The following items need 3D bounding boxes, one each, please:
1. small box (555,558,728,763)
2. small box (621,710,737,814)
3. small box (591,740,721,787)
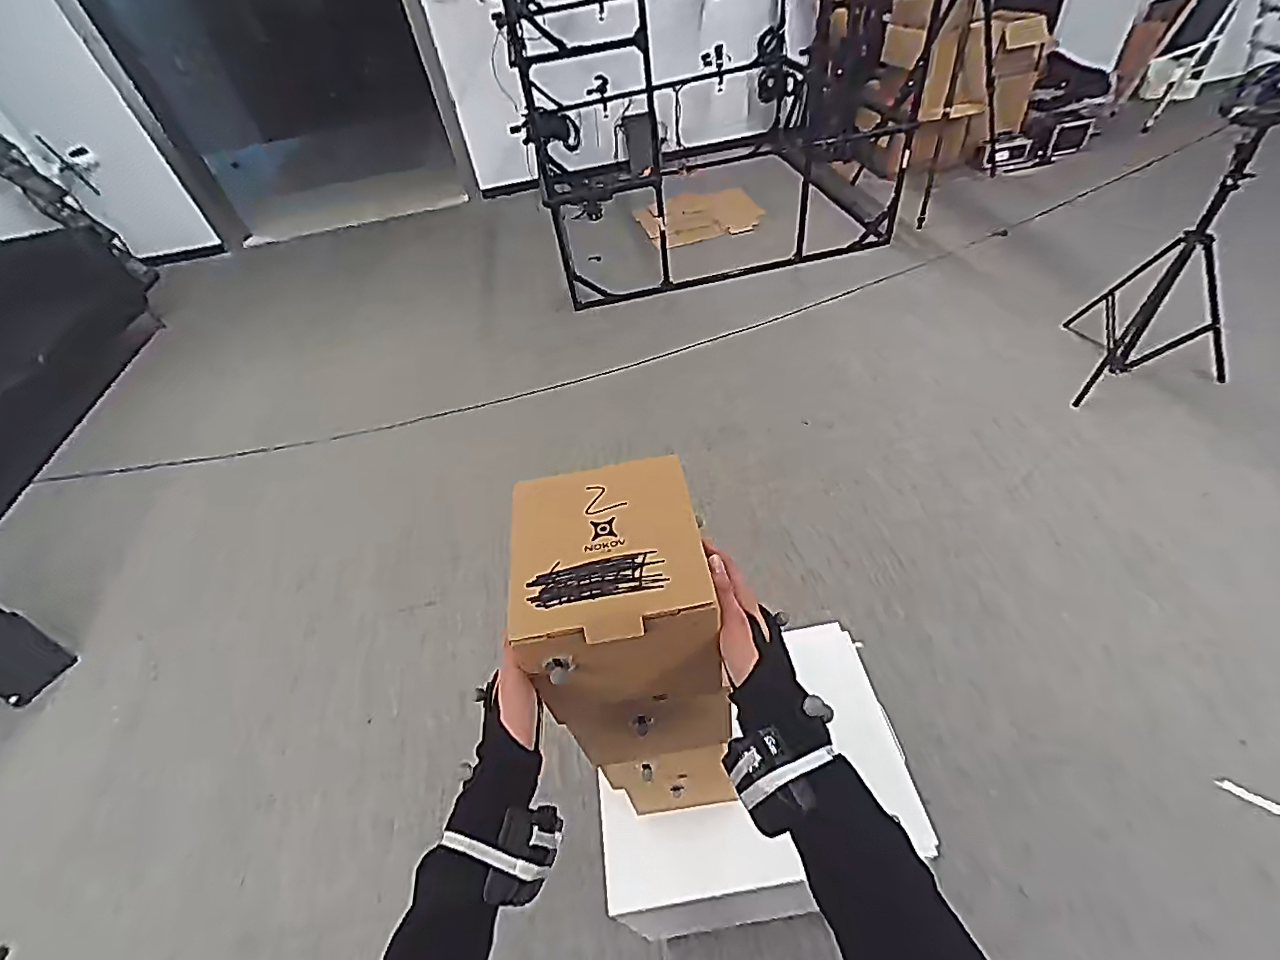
[{"bbox_3d":[0.003,0.220,0.650,0.179,0.176,0.168,-10,46,0],"label":"small box"},{"bbox_3d":[0.059,0.432,0.894,0.179,0.176,0.168,-8,46,0],"label":"small box"},{"bbox_3d":[0.022,0.324,0.777,0.168,0.176,0.179,-8,45,2],"label":"small box"}]
